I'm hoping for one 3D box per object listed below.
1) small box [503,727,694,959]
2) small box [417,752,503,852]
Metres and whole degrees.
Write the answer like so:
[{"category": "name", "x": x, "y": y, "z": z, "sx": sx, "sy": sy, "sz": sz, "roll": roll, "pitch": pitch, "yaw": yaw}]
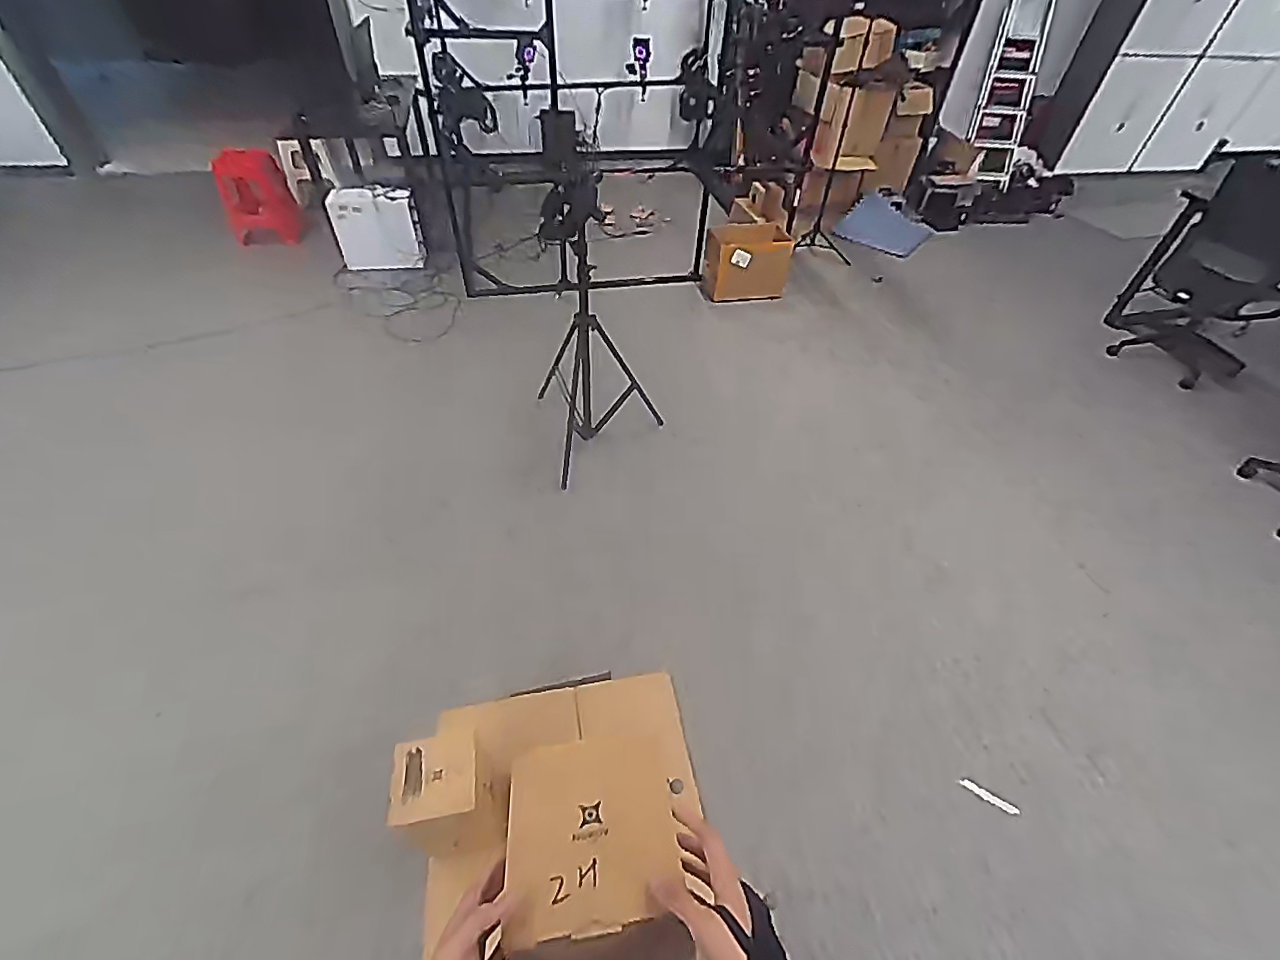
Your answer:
[{"category": "small box", "x": -0.040, "y": 0.404, "z": 0.581, "sx": 0.168, "sy": 0.176, "sz": 0.179, "roll": -9, "pitch": 33, "yaw": -3}, {"category": "small box", "x": -0.437, "y": 0.800, "z": 1.343, "sx": 0.179, "sy": 0.176, "sz": 0.168, "roll": -7, "pitch": 47, "yaw": -9}]
